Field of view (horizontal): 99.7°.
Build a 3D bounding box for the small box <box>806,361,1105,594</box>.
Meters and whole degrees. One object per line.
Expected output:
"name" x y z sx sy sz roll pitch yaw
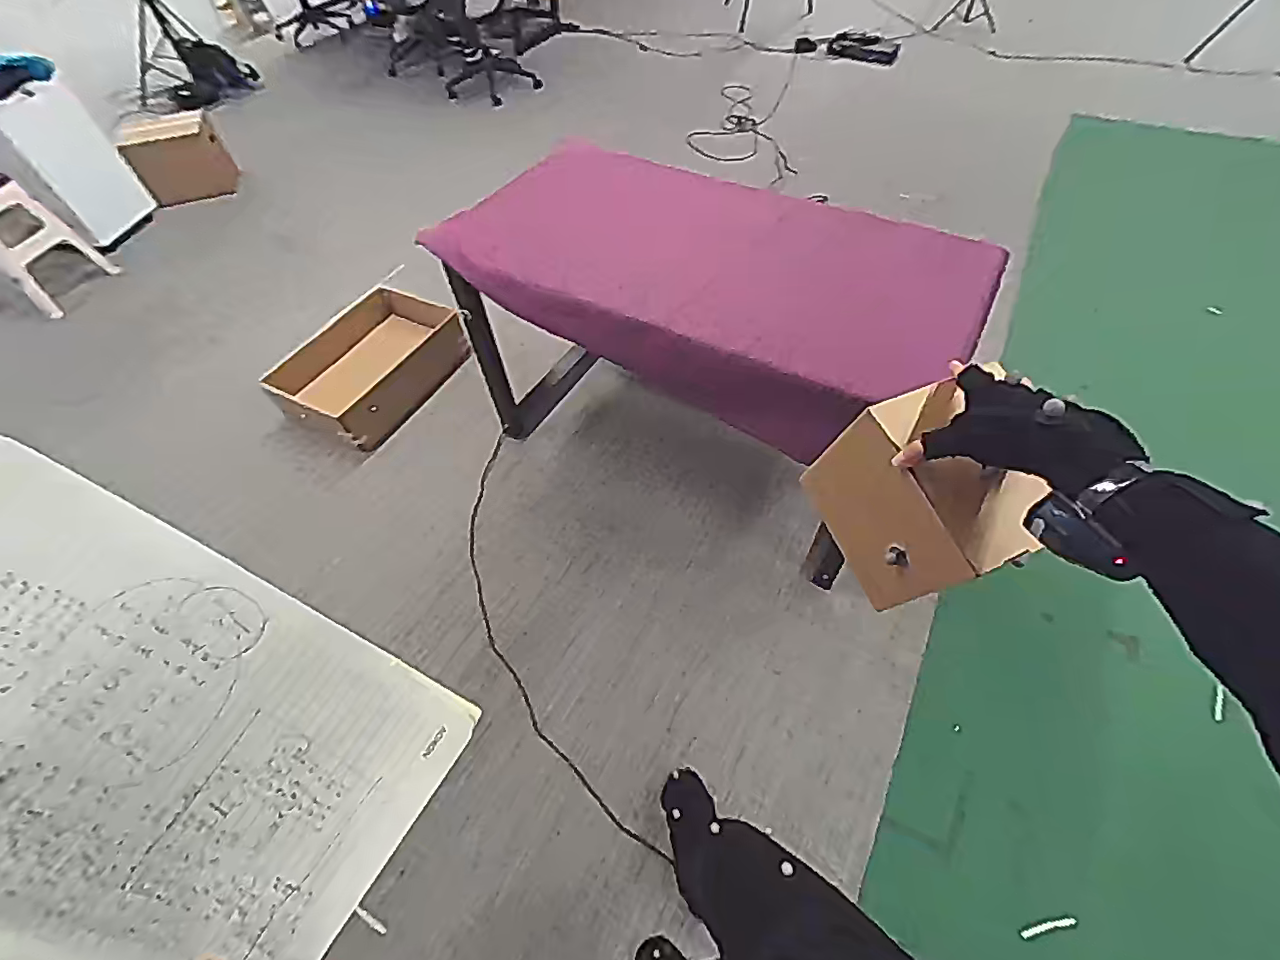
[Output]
"small box" 0.311 0.009 0.573 0.168 0.176 0.179 -18 70 -15
